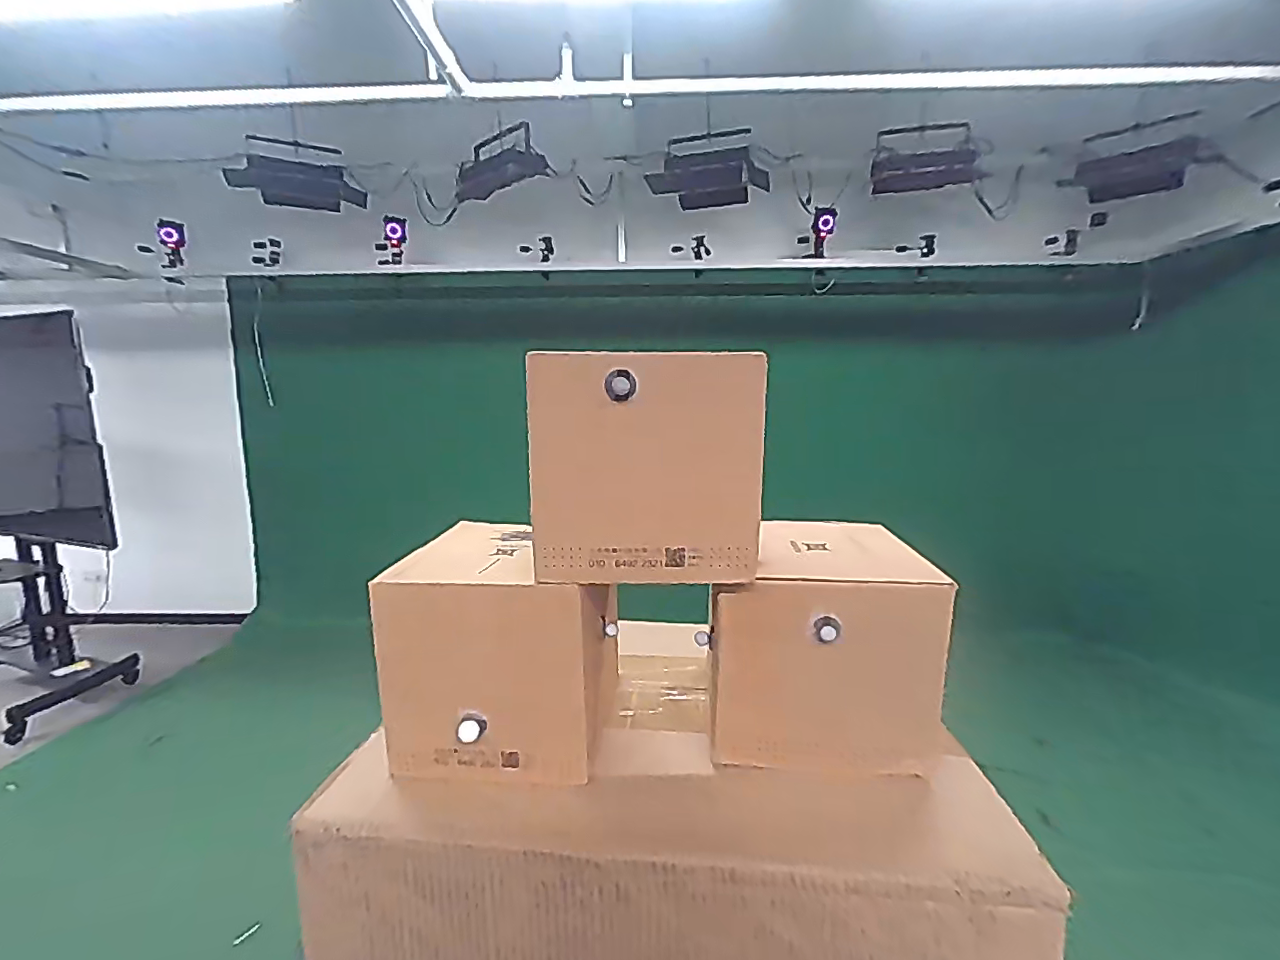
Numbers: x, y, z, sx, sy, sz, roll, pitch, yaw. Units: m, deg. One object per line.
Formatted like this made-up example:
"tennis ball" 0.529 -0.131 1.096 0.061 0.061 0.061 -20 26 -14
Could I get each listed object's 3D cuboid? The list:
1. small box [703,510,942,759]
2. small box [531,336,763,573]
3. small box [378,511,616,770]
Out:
"small box" 0.149 0.131 0.505 0.179 0.176 0.168 3 12 5
"small box" 0.003 -0.029 0.469 0.168 0.176 0.179 1 11 0
"small box" -0.115 0.132 0.503 0.168 0.176 0.179 0 11 6
